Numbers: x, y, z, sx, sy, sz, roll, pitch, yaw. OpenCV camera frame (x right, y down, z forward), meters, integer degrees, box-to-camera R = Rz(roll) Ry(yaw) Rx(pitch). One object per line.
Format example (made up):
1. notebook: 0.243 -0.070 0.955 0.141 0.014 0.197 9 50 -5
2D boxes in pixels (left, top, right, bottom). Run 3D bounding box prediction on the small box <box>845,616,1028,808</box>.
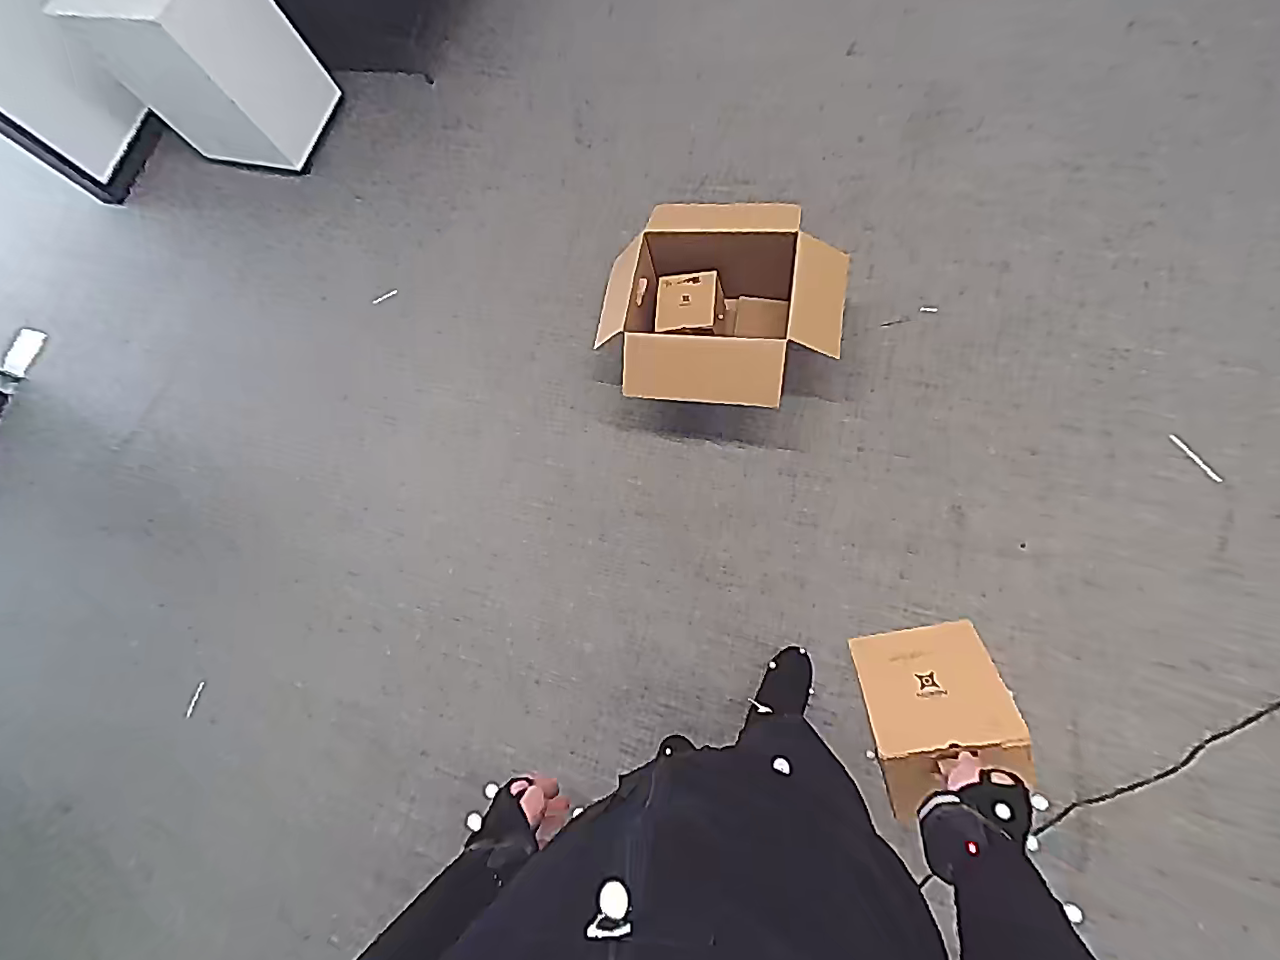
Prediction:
1. small box: 0.391 0.317 0.729 0.168 0.176 0.179 -14 31 14
